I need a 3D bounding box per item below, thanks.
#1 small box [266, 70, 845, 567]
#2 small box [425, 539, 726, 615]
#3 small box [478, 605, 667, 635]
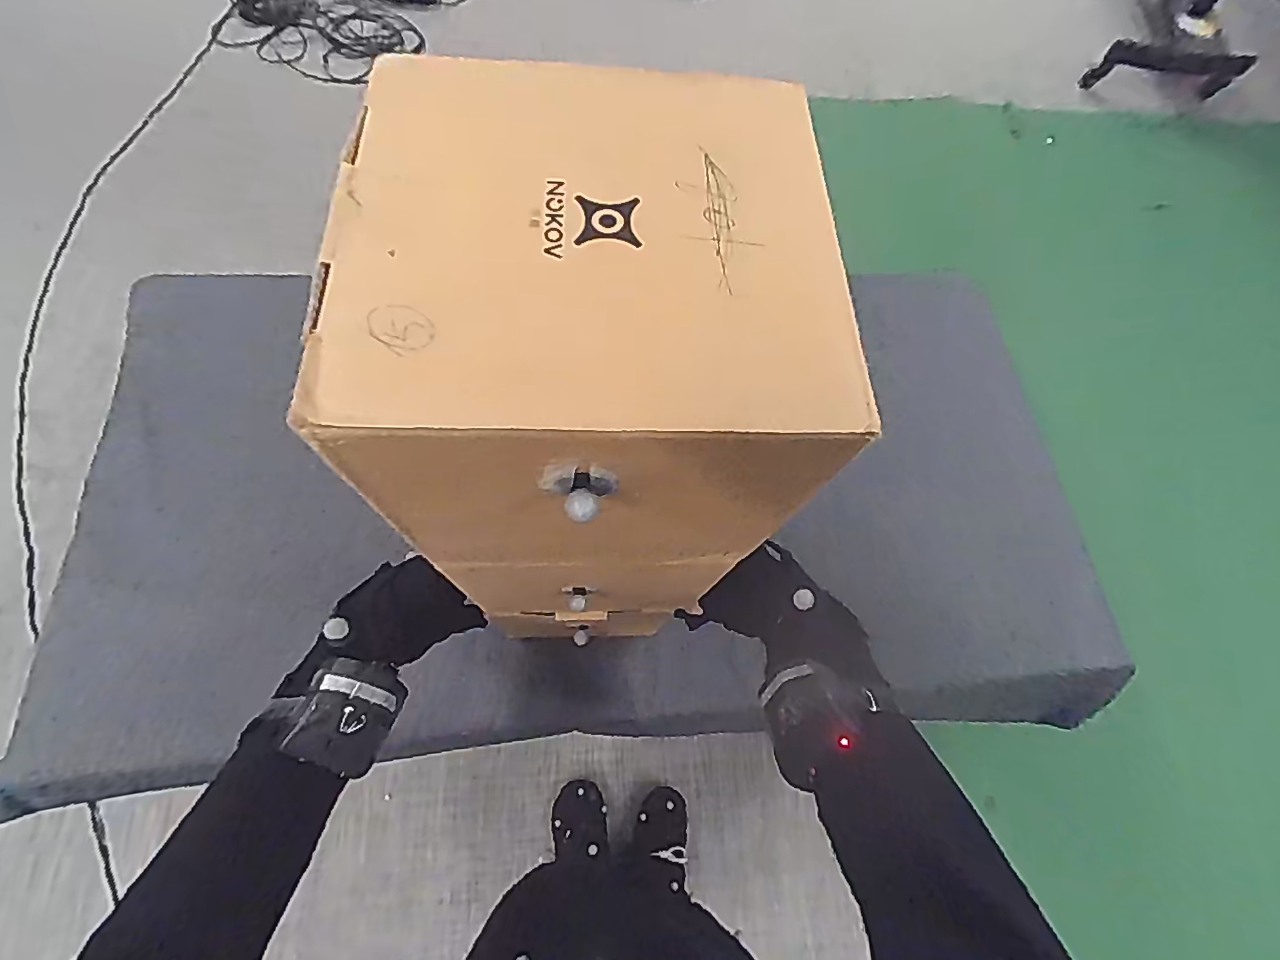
[{"bbox_3d":[-0.031,-0.056,0.265,0.179,0.176,0.168,-1,68,-6],"label":"small box"},{"bbox_3d":[-0.045,0.007,0.413,0.179,0.176,0.168,-1,67,-5],"label":"small box"},{"bbox_3d":[-0.064,0.067,0.566,0.168,0.176,0.179,-1,68,-5],"label":"small box"}]
